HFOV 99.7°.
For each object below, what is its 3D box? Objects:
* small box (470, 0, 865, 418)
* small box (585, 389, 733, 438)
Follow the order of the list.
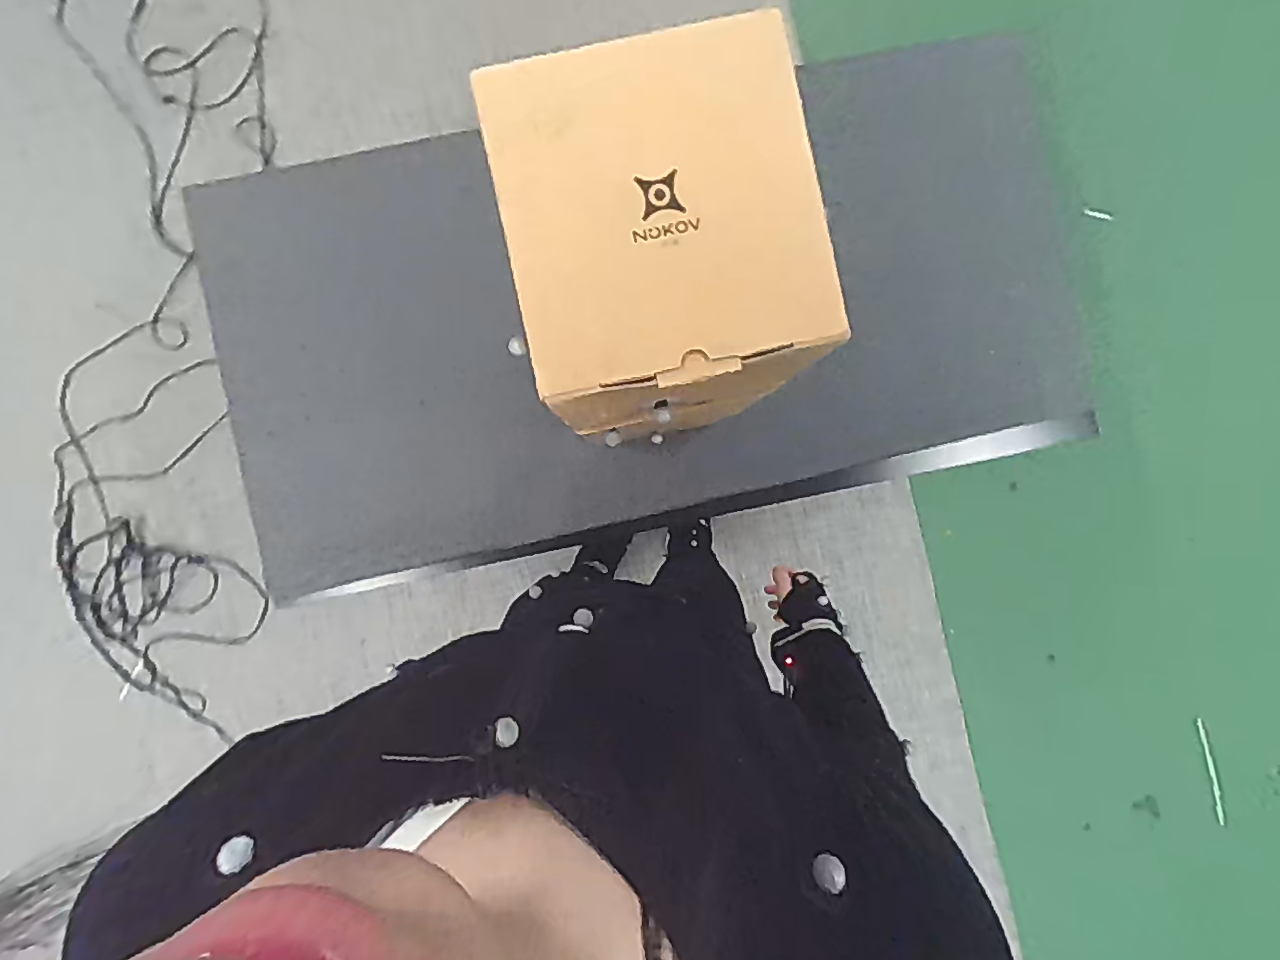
[{"bbox_3d":[0.011,-0.149,0.343,0.168,0.176,0.179,-13,90,-1],"label":"small box"},{"bbox_3d":[0.006,-0.156,0.669,0.168,0.176,0.179,-11,91,-1],"label":"small box"}]
